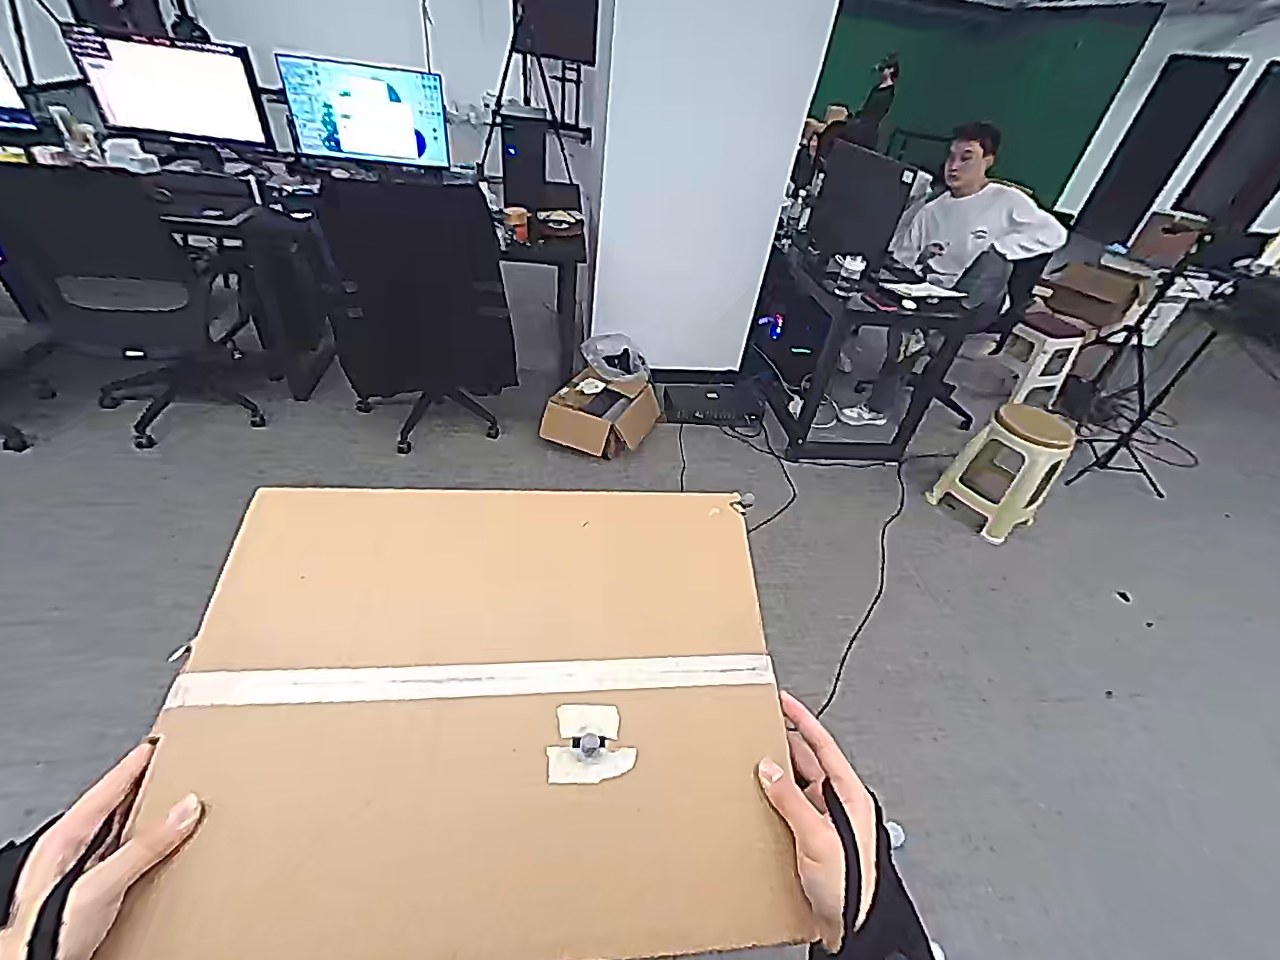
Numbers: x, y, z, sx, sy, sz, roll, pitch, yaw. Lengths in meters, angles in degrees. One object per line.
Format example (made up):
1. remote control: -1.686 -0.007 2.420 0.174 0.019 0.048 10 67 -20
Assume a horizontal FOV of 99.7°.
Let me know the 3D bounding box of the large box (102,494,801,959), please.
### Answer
1. large box: -0.122 0.223 0.516 0.408 0.320 0.320 1 57 -8
